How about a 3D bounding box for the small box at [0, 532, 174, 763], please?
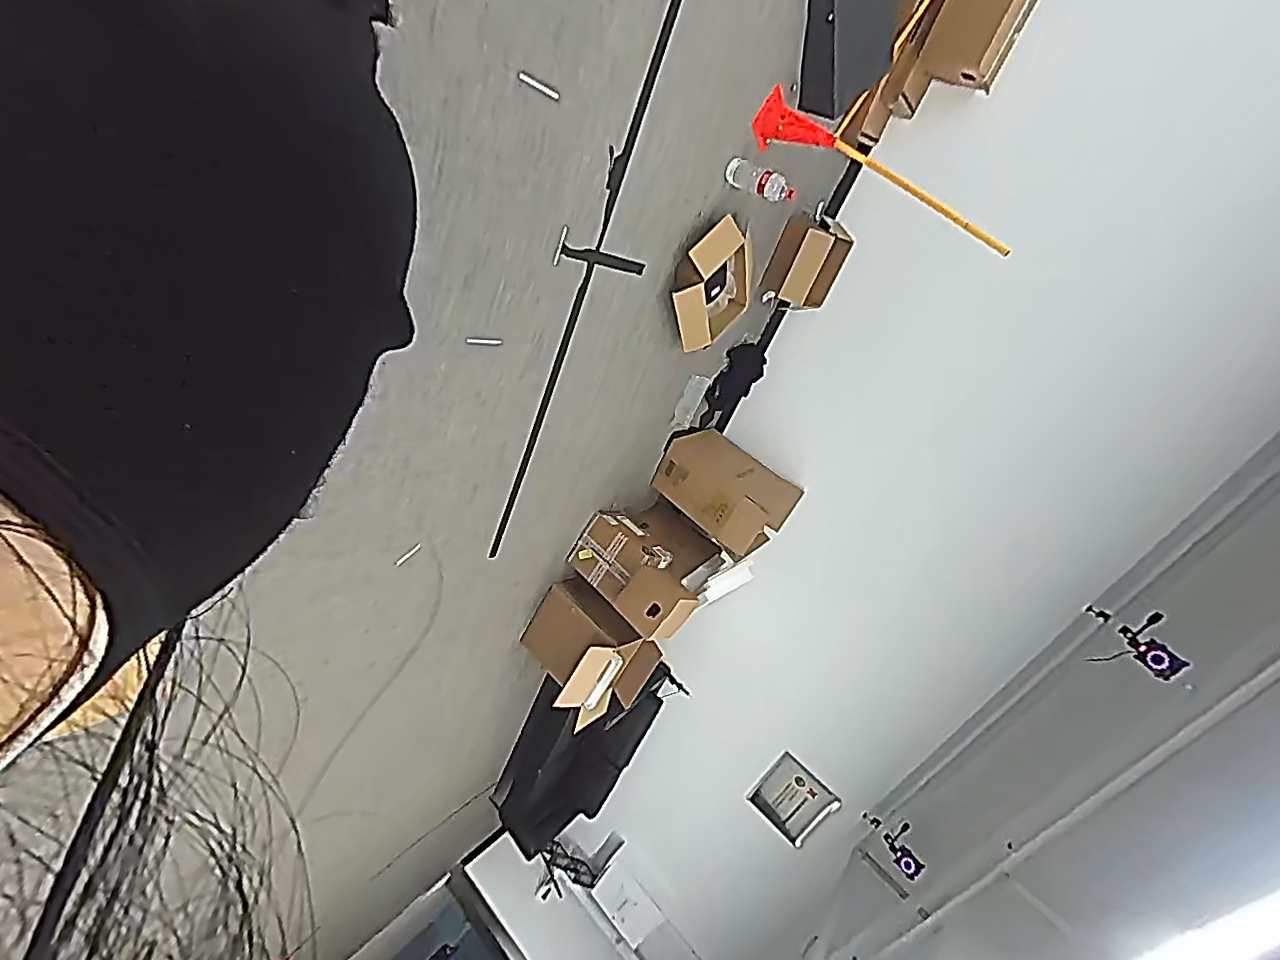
[{"bbox_3d":[-0.686,0.181,0.639,0.168,0.176,0.179,-17,139,-52],"label":"small box"}]
